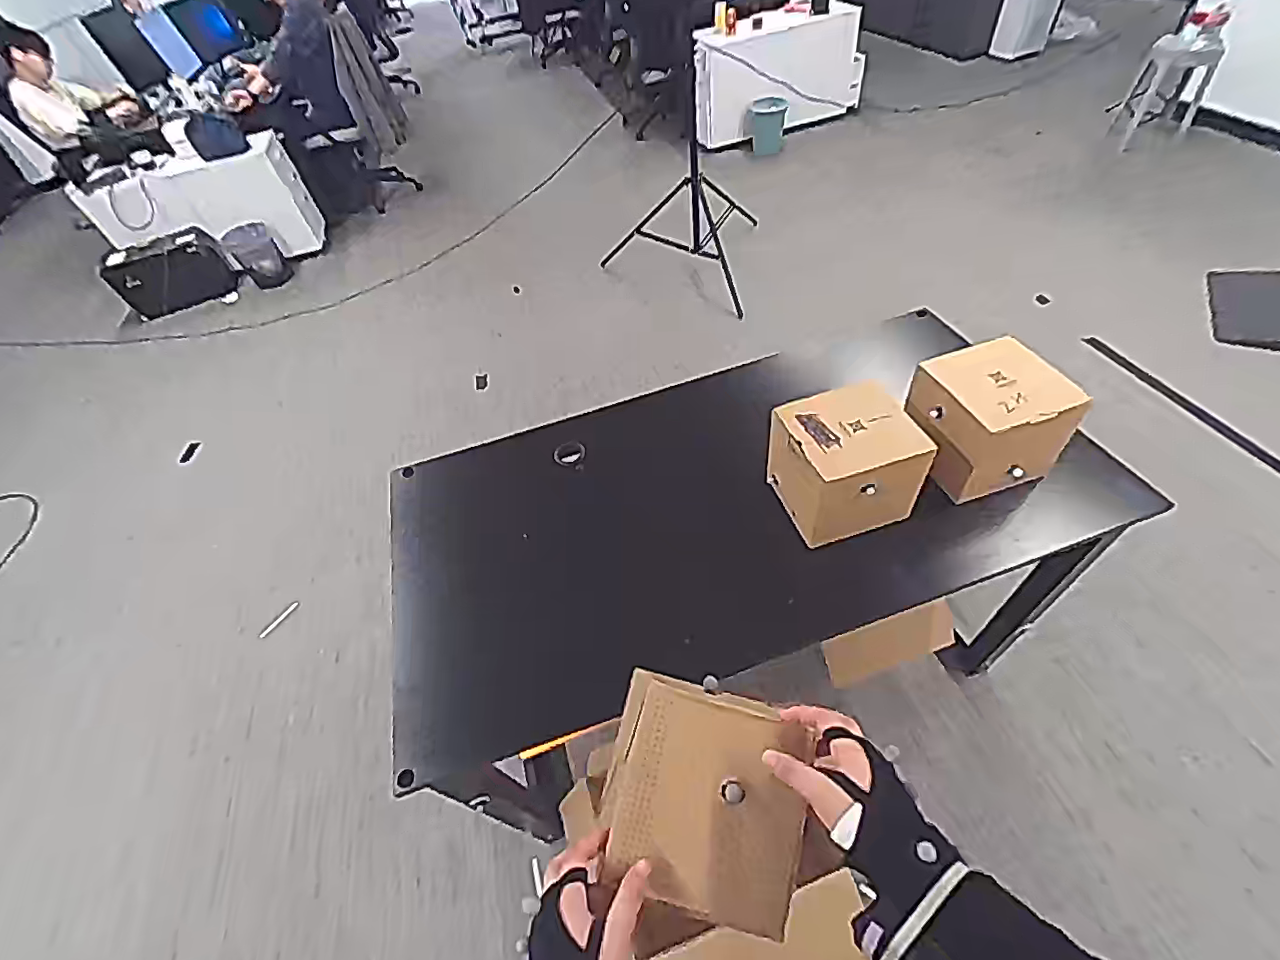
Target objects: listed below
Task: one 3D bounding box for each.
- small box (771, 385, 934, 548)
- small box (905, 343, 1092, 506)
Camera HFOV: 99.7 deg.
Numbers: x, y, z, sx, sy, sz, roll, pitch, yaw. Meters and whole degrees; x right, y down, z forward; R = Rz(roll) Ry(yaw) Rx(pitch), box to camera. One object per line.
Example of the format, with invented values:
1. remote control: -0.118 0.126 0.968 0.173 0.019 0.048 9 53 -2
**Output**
1. small box: 0.318 -0.017 0.855 0.179 0.176 0.168 -16 50 -5
2. small box: 0.552 -0.089 0.875 0.168 0.176 0.179 -17 49 -4
